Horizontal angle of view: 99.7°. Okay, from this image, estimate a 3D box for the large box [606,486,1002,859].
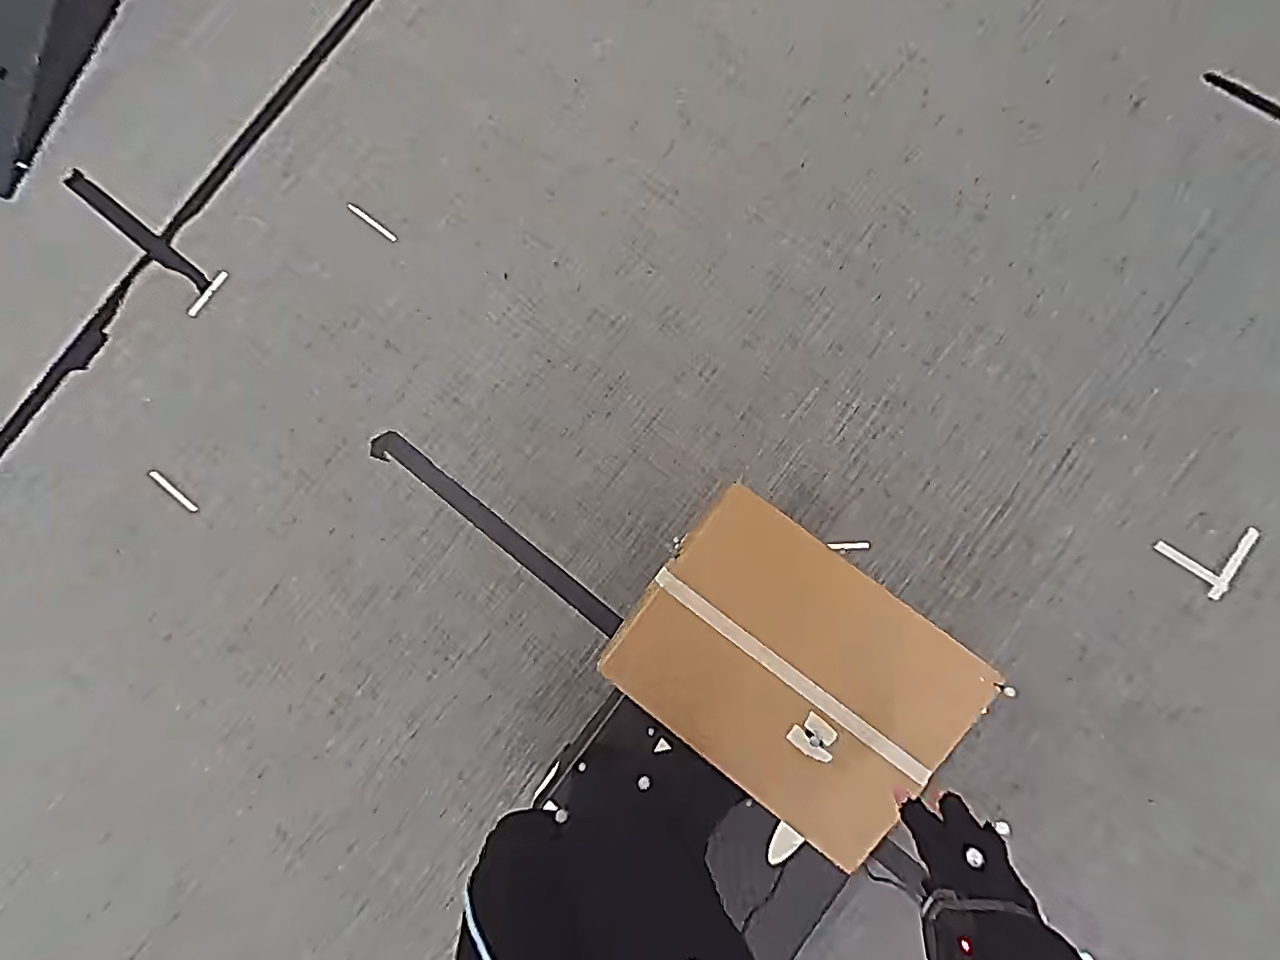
[{"bbox_3d":[0.214,0.243,0.836,0.408,0.320,0.320,36,95,6],"label":"large box"}]
